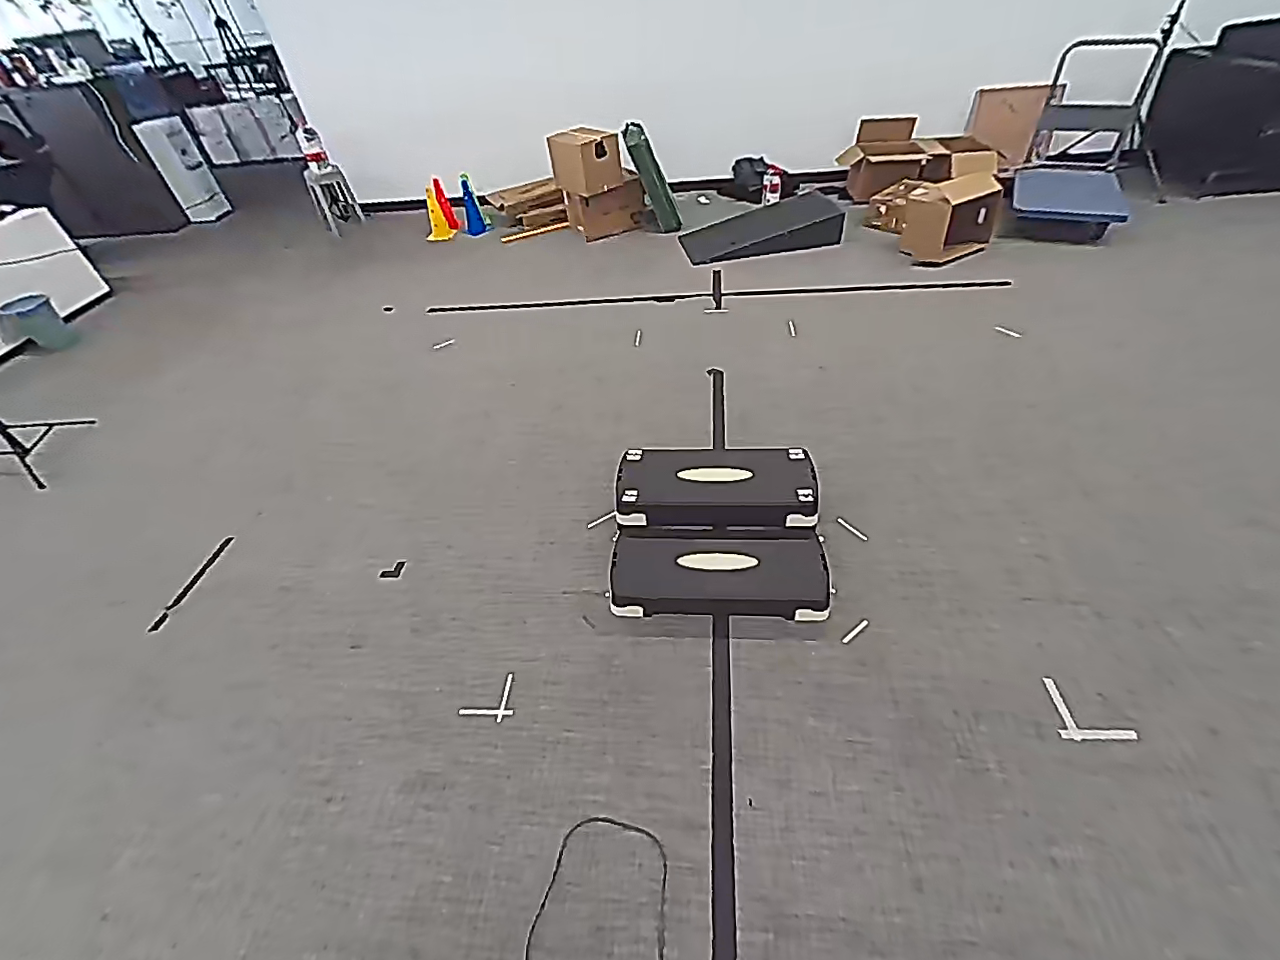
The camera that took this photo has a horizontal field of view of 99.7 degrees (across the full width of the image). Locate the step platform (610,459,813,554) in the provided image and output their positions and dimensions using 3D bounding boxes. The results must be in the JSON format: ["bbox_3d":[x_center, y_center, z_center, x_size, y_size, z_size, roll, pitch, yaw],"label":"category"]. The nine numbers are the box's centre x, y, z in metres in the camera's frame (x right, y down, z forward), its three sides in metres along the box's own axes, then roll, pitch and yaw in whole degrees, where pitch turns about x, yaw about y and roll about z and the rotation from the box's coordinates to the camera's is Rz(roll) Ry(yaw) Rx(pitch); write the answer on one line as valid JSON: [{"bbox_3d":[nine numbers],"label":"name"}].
[{"bbox_3d":[0.239,0.086,1.866,0.684,0.204,0.286,0,44,5],"label":"step platform"}]
